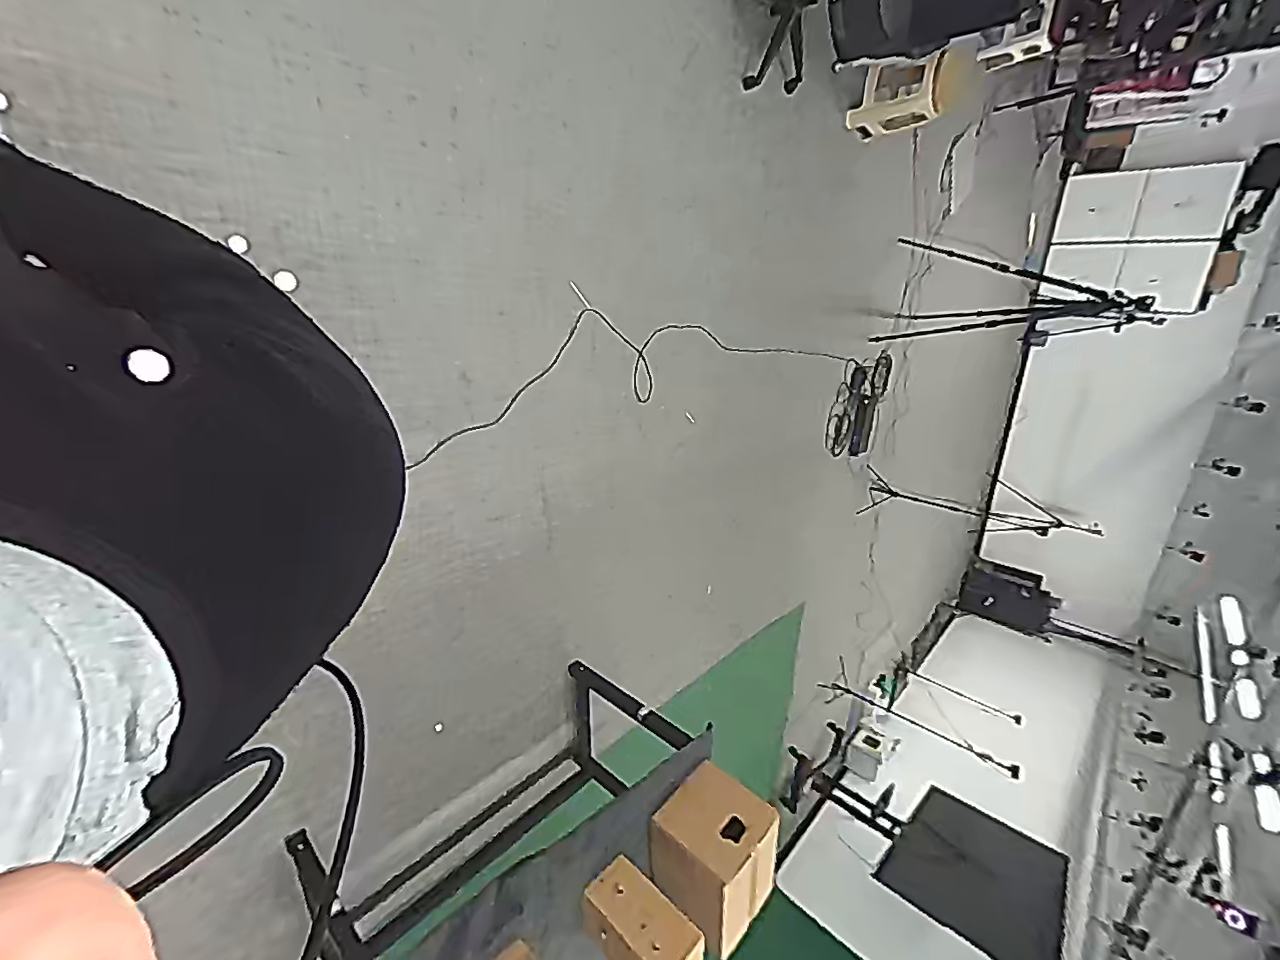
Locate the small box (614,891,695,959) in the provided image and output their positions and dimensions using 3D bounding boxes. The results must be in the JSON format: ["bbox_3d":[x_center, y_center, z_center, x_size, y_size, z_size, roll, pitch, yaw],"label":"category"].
[{"bbox_3d":[0.038,1.346,1.564,0.168,0.176,0.179,-18,119,-43],"label":"small box"}]
